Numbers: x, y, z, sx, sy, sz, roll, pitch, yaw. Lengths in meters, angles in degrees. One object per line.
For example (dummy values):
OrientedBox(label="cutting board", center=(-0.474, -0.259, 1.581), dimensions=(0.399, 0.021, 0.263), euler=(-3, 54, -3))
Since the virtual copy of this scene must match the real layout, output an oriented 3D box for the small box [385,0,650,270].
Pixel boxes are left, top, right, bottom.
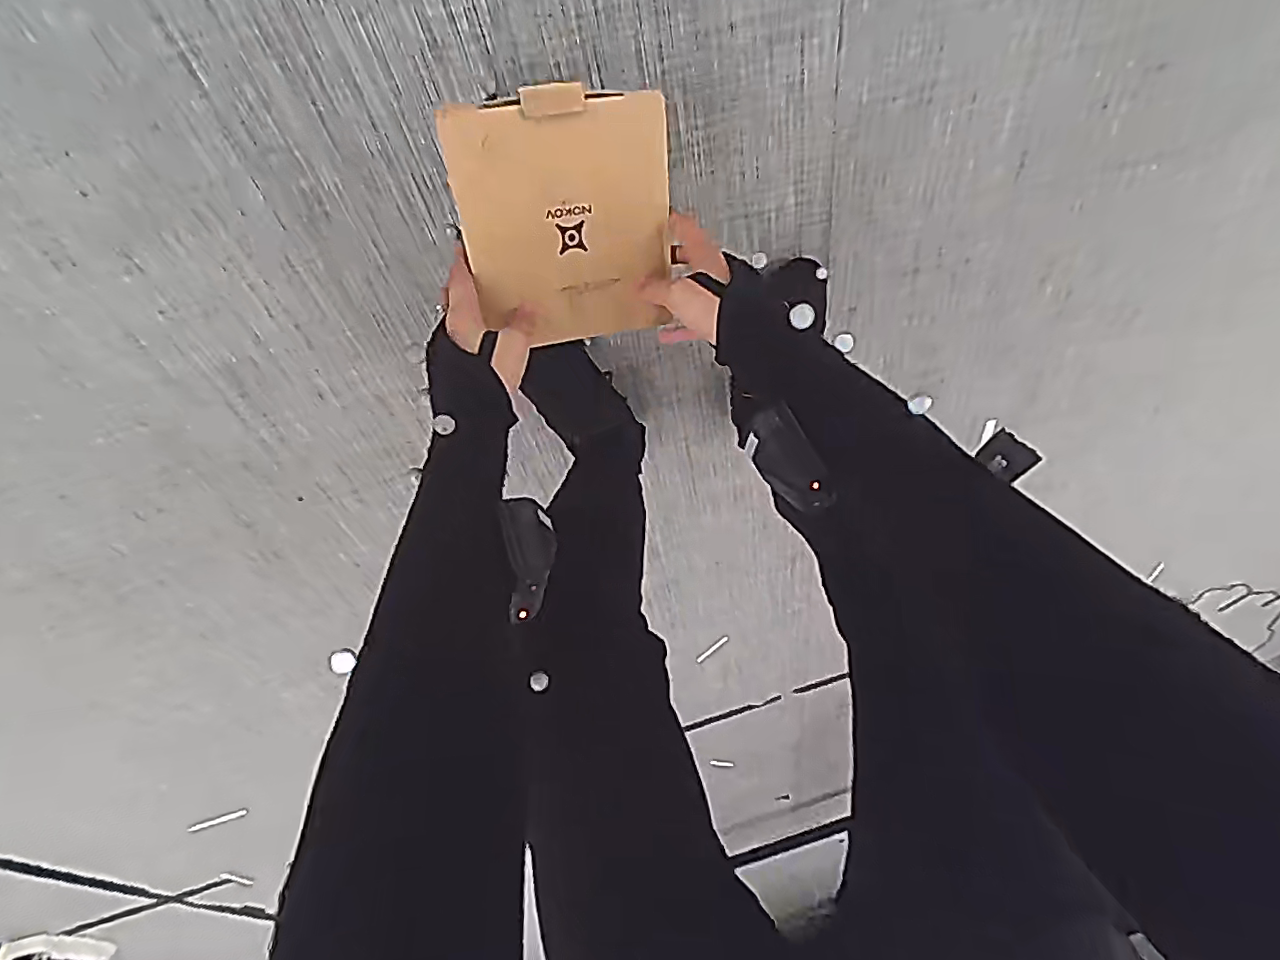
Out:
OrientedBox(label="small box", center=(-0.096, -0.292, 0.446), dimensions=(0.168, 0.176, 0.179), euler=(-12, 127, -11))
